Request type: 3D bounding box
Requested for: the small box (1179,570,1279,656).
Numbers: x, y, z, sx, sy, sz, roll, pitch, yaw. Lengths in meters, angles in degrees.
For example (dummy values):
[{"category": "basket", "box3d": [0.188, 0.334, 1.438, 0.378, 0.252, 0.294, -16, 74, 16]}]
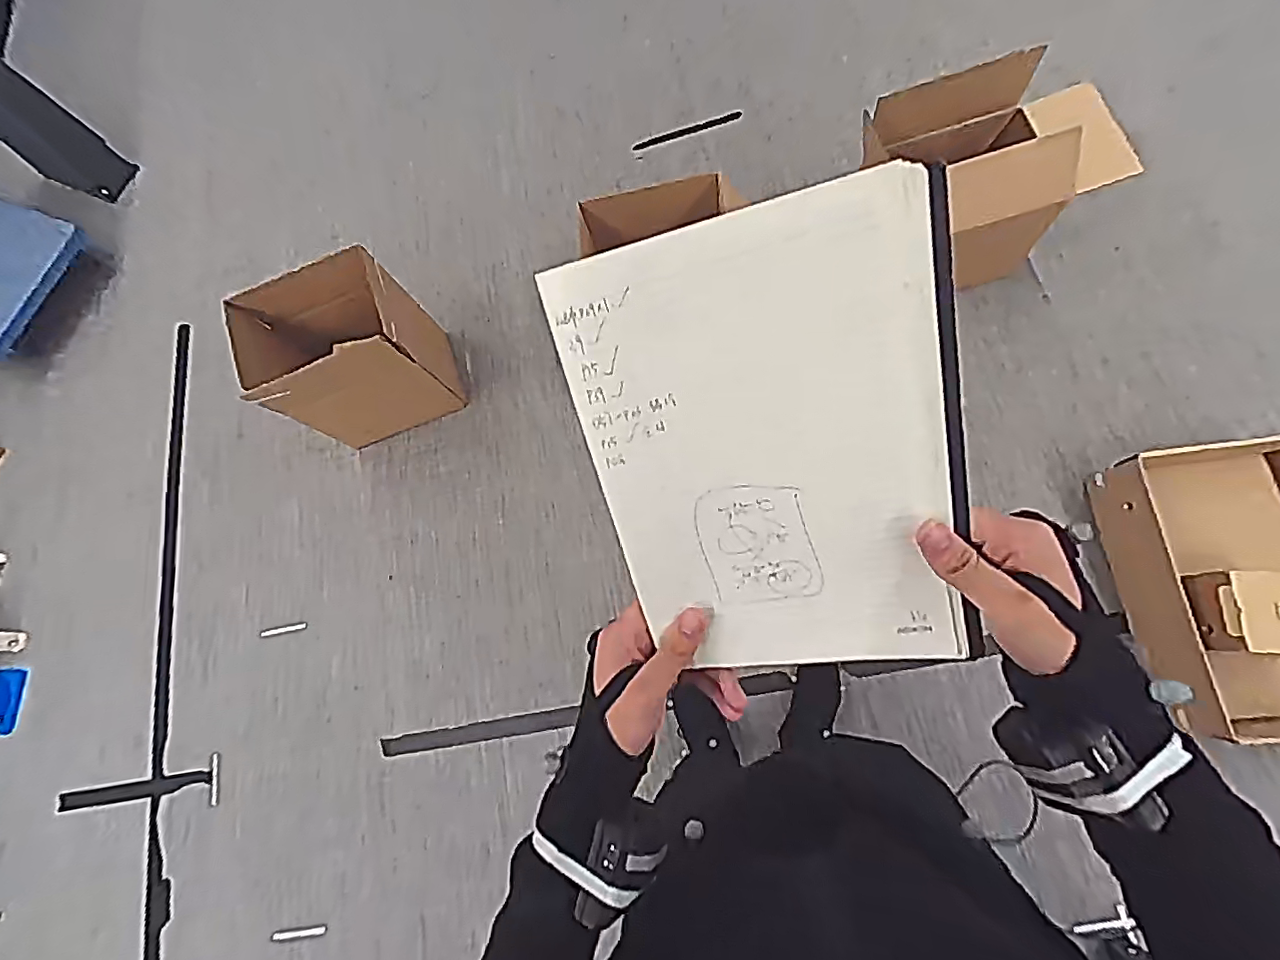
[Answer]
[{"category": "small box", "box3d": [1.318, 0.288, 1.161, 0.179, 0.176, 0.168, 0, 75, 10]}]
